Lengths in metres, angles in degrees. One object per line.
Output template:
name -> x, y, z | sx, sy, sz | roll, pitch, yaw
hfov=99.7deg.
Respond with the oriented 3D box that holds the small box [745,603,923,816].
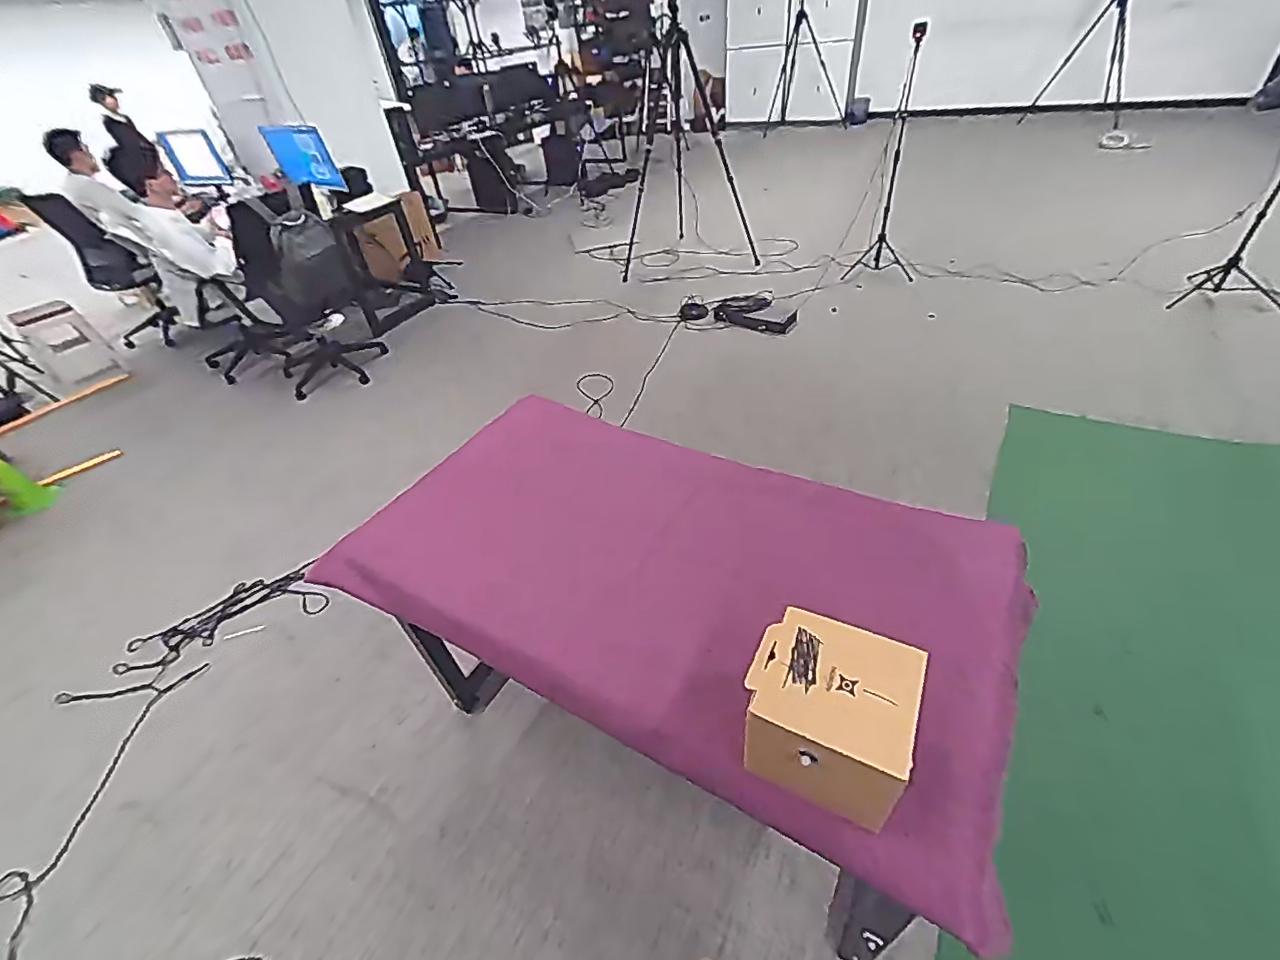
small box -> 0.244, 0.298, 0.704 | 0.179, 0.176, 0.168 | 16, 47, 24
